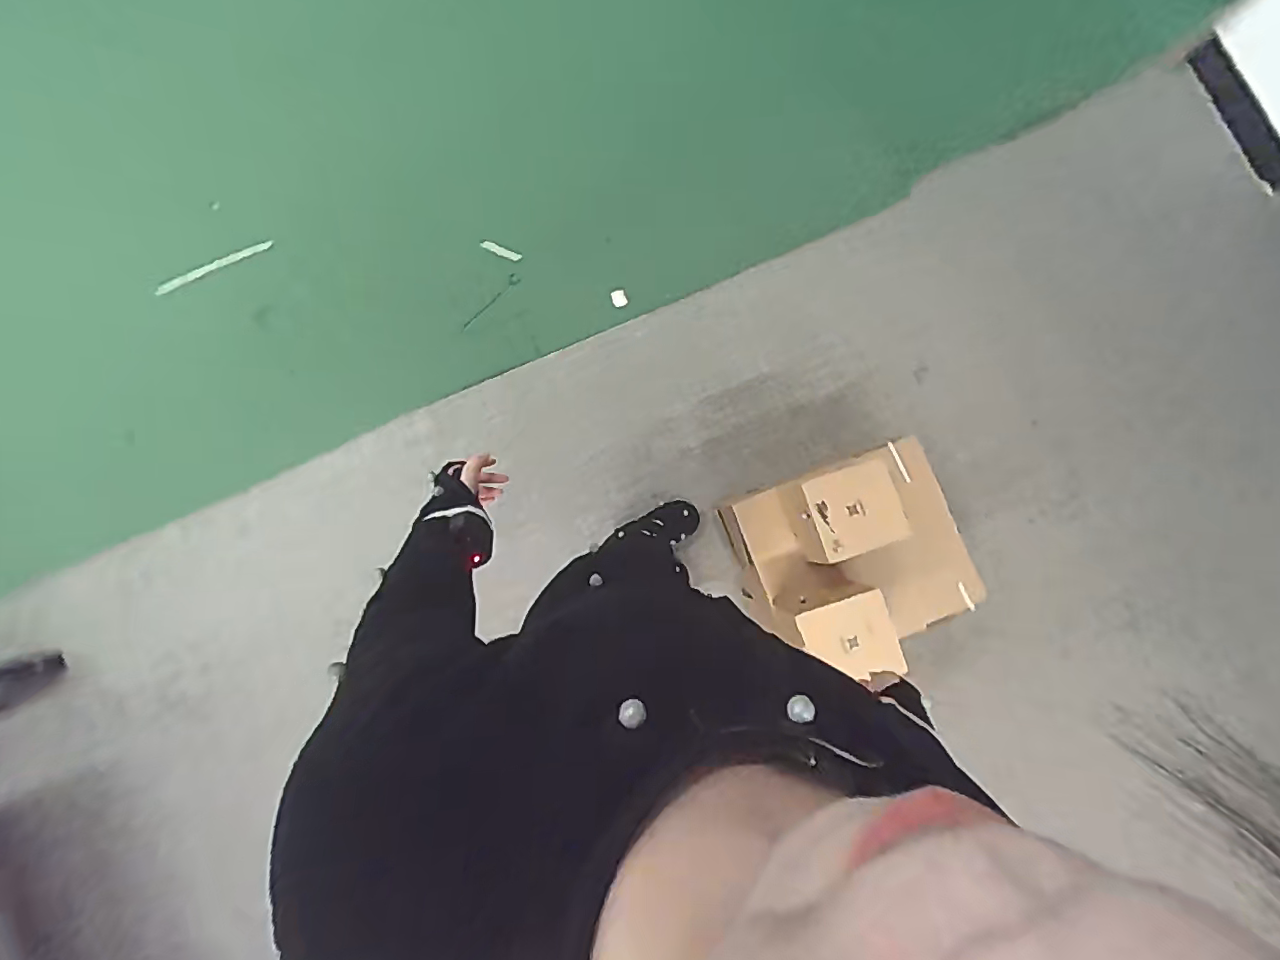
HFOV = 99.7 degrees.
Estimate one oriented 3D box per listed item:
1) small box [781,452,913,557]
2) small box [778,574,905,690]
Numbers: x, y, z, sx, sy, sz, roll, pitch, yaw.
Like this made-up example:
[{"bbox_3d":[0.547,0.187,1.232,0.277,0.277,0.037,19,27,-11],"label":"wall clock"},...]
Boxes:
[{"bbox_3d":[0.416,0.052,1.113,0.179,0.176,0.168,-17,85,-3],"label":"small box"},{"bbox_3d":[0.393,0.298,1.093,0.179,0.176,0.168,-16,87,-2],"label":"small box"}]
